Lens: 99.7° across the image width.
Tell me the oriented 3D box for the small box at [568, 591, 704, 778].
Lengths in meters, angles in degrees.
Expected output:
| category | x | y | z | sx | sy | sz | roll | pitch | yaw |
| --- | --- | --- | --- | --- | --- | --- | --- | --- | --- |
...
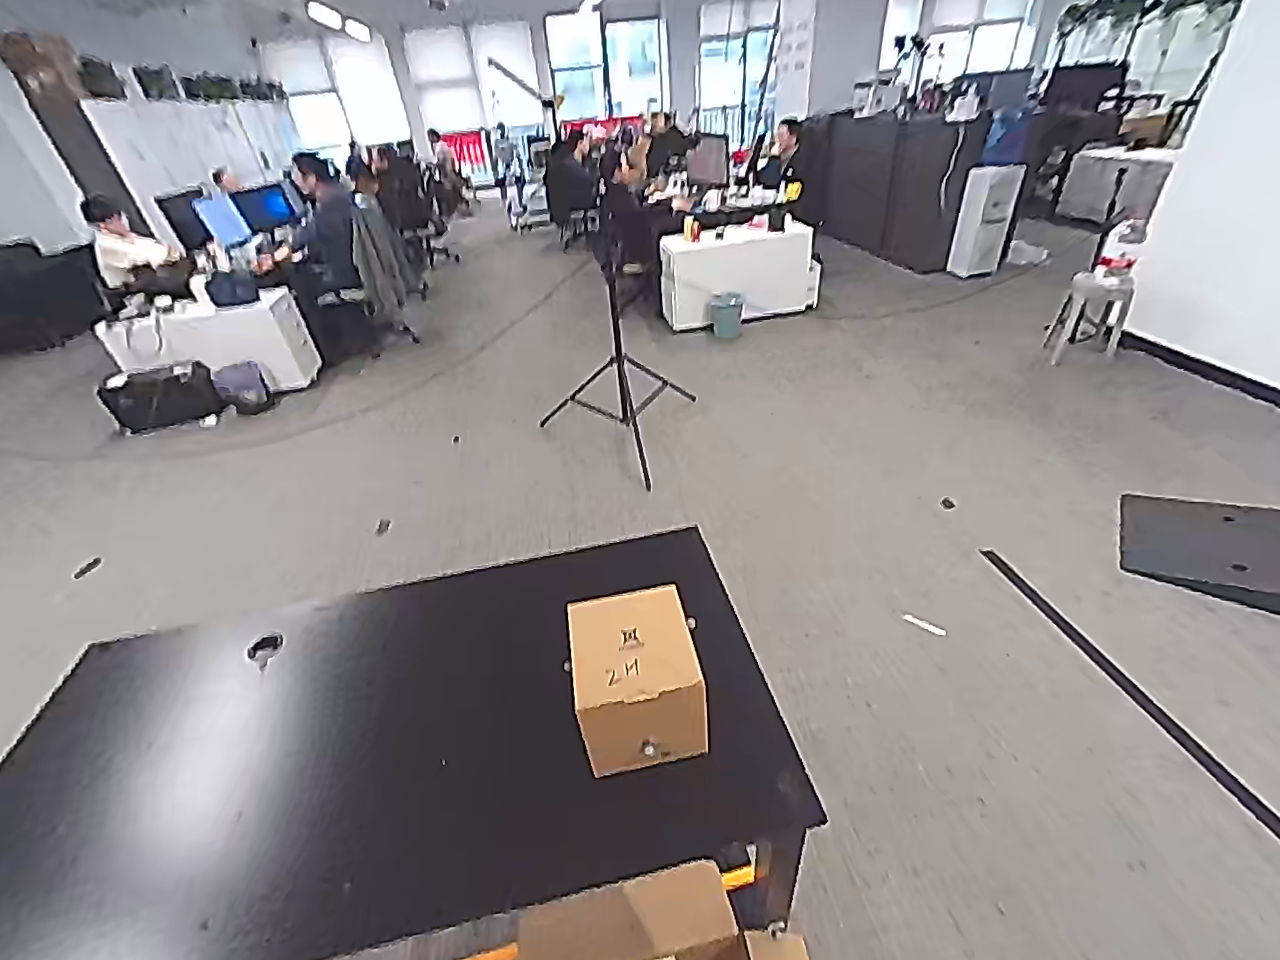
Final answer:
| category | x | y | z | sx | sy | sz | roll | pitch | yaw |
| --- | --- | --- | --- | --- | --- | --- | --- | --- | --- |
| small box | -0.007 | 0.292 | 0.784 | 0.168 | 0.176 | 0.179 | -10 | 35 | -4 |
